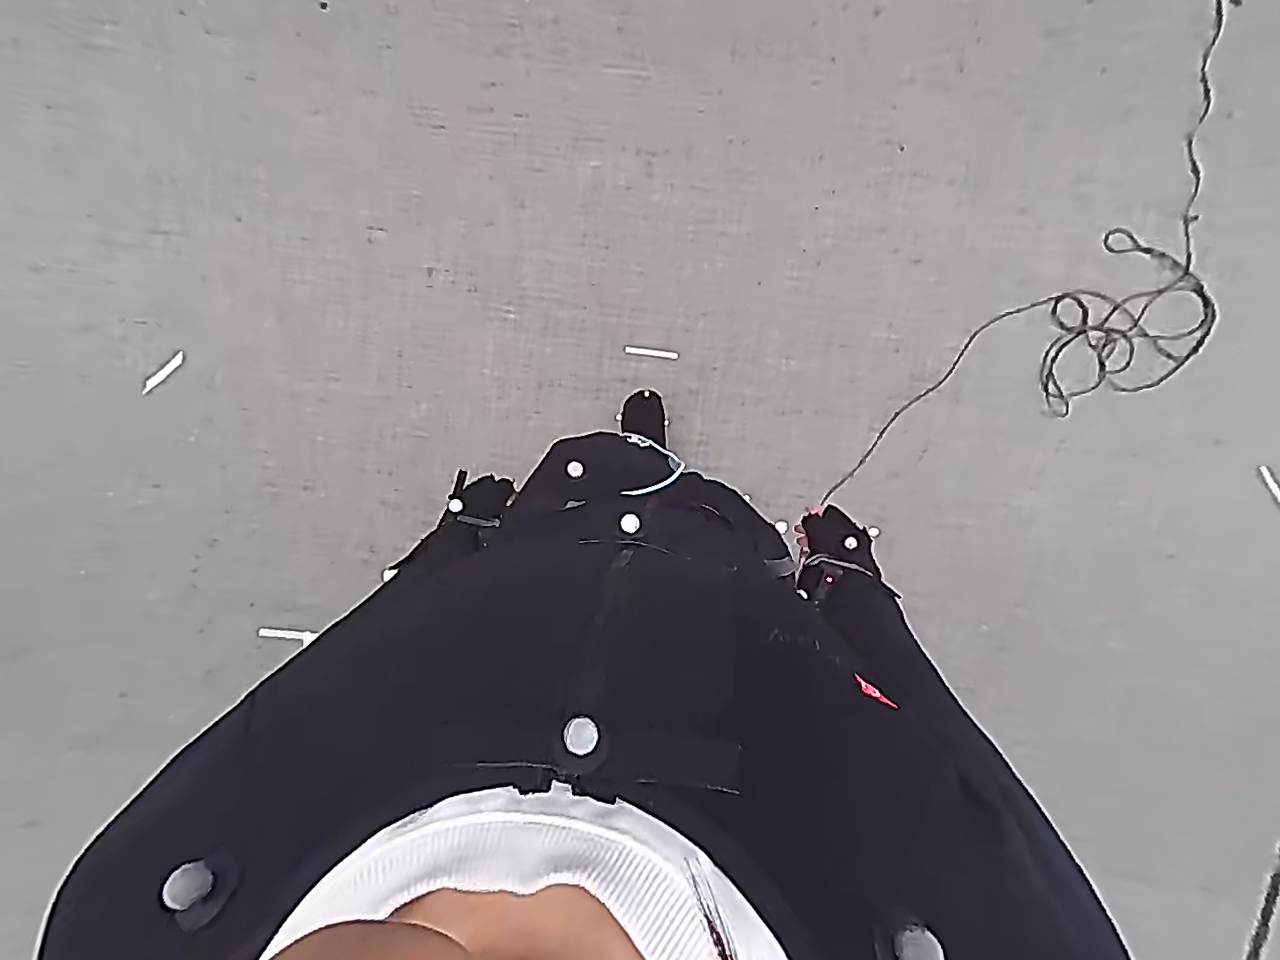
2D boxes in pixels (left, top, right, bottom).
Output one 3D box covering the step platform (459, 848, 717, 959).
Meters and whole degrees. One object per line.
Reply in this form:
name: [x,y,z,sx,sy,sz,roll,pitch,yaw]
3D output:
step platform: [-0.136,1.236,1.469,0.684,0.204,0.286,6,95,3]
